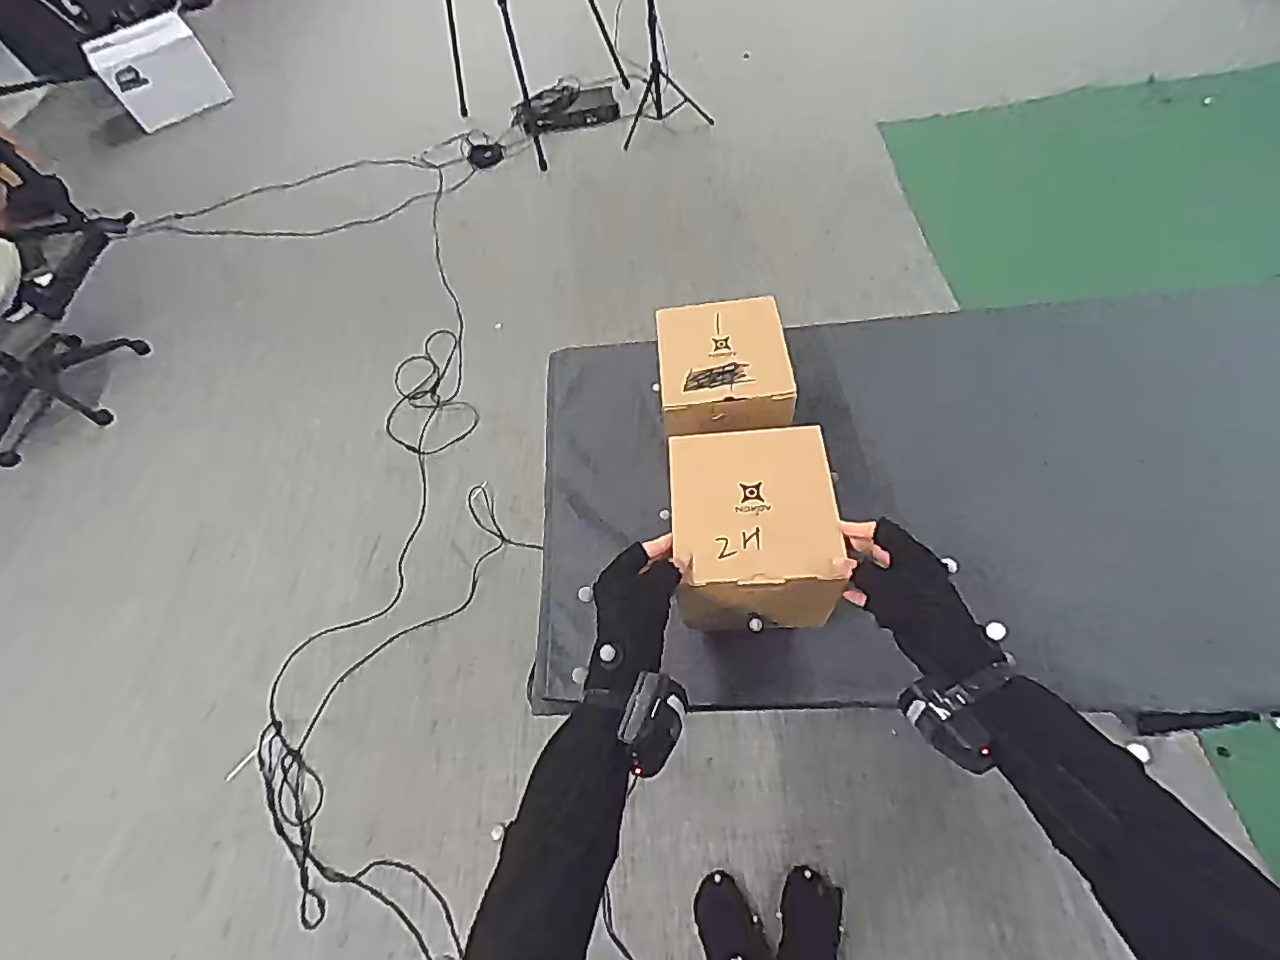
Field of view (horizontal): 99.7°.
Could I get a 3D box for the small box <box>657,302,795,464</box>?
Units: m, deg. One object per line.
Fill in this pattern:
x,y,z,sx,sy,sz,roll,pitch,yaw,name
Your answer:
0.117,-0.122,0.770,0.168,0.176,0.179,-5,59,5,small box

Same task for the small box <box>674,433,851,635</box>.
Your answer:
0.126,0.068,0.621,0.168,0.176,0.179,-4,60,7,small box
